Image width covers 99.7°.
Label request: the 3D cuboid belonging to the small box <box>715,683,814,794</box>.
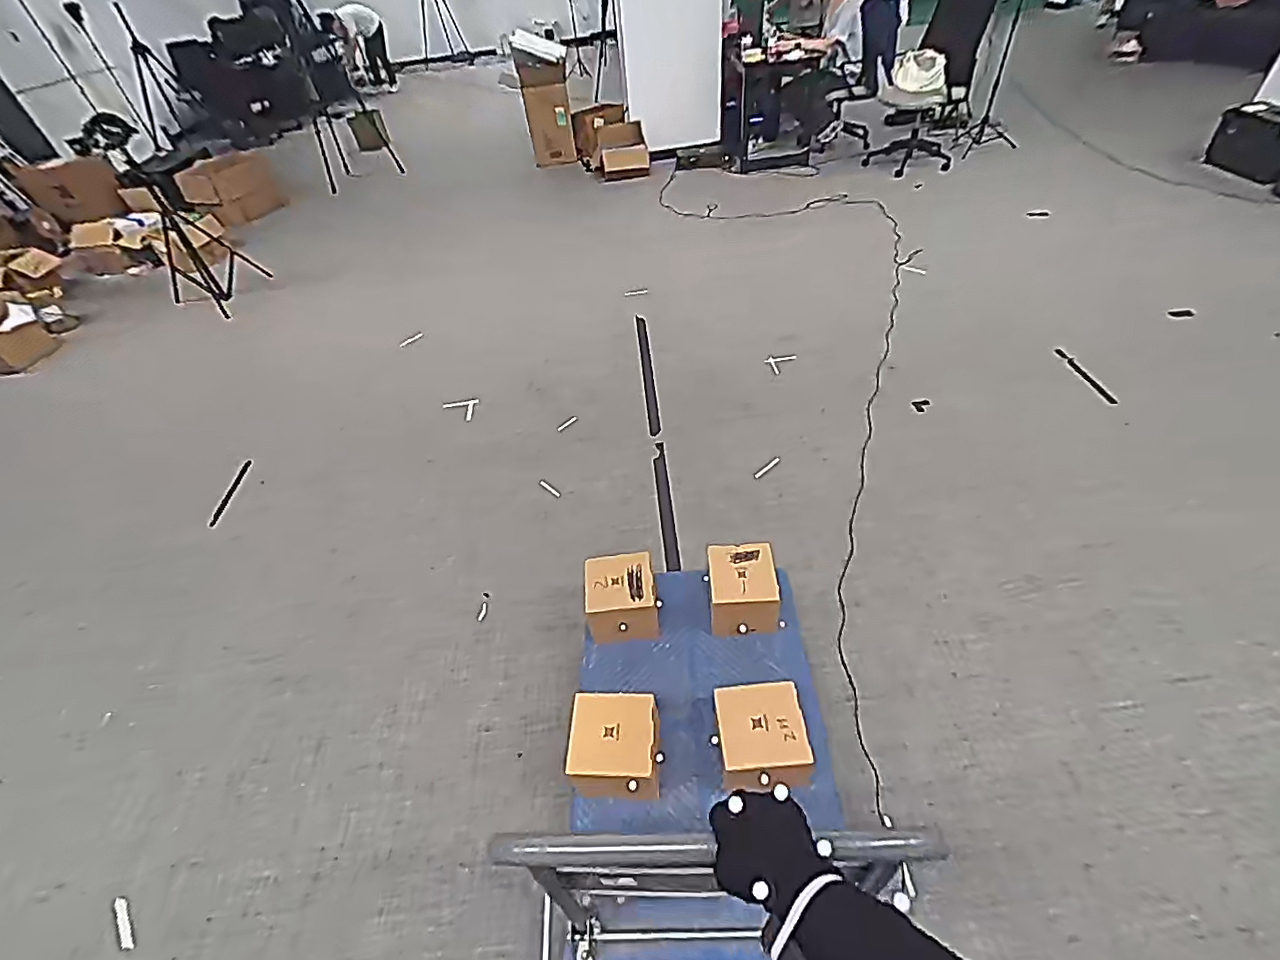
[{"bbox_3d":[0.261,0.559,1.163,0.179,0.176,0.168,-6,45,3],"label":"small box"}]

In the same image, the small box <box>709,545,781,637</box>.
[{"bbox_3d":[0.269,0.292,1.425,0.168,0.176,0.179,-4,46,5],"label":"small box"}]

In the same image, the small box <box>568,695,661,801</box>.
[{"bbox_3d":[-0.047,0.588,1.182,0.179,0.176,0.168,-2,45,5],"label":"small box"}]
